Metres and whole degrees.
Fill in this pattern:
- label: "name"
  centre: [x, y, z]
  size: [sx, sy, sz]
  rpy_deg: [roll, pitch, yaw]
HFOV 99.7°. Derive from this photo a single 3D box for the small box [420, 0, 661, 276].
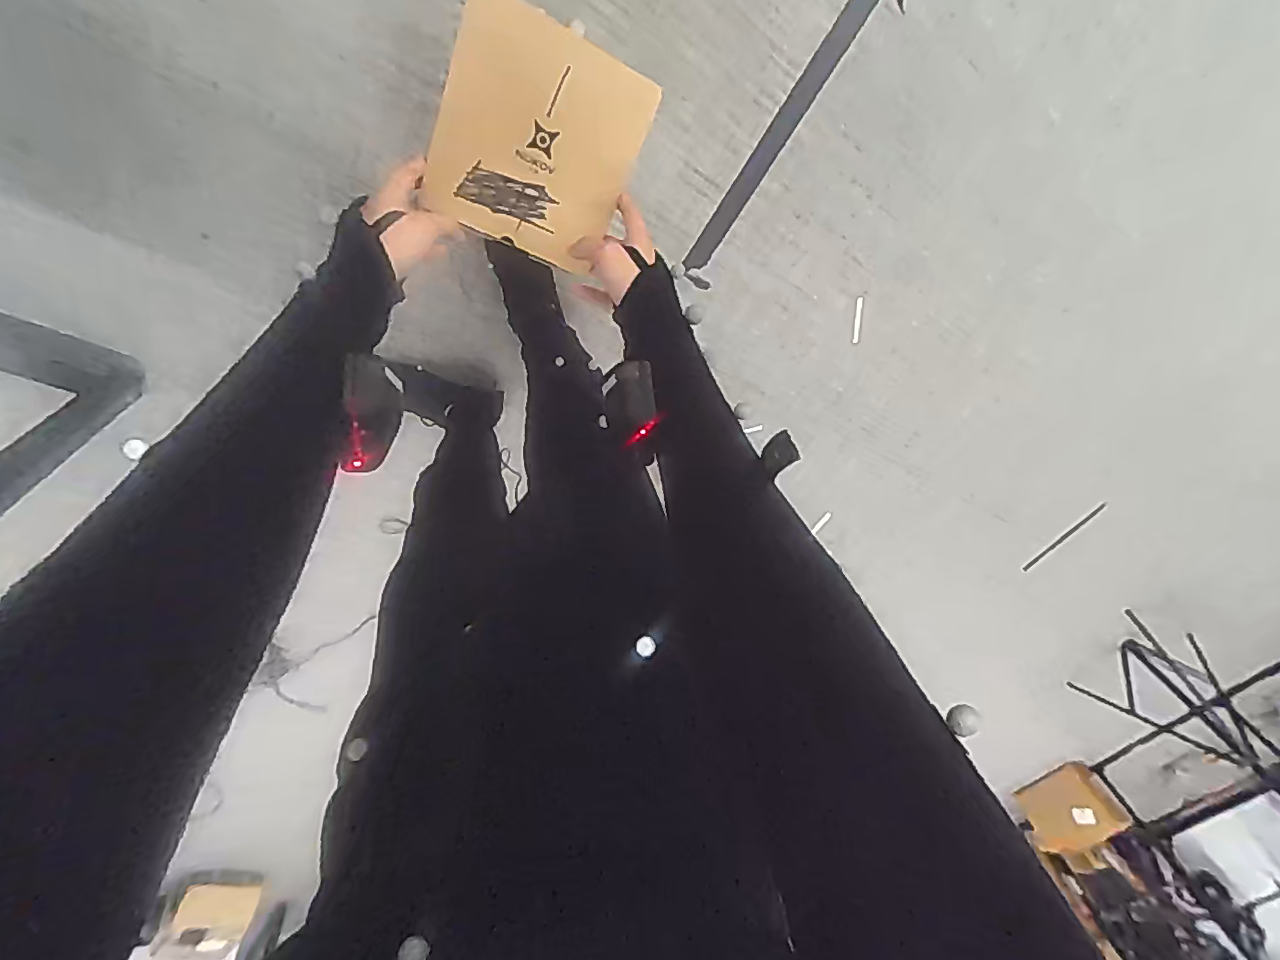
- label: "small box"
  centre: [-0.101, -0.337, 0.531]
  size: [0.168, 0.176, 0.179]
  rpy_deg: [15, 122, -23]
